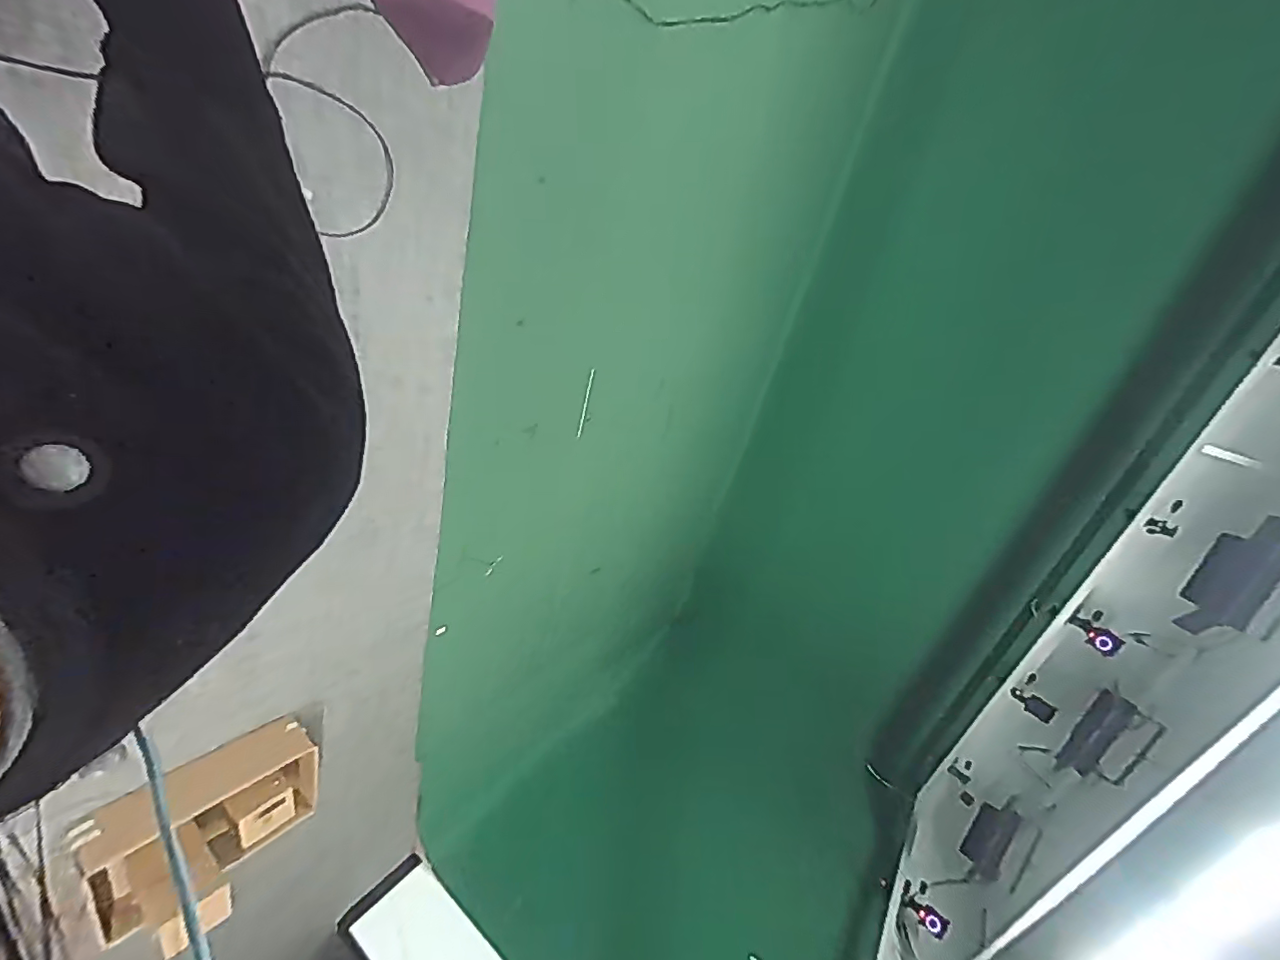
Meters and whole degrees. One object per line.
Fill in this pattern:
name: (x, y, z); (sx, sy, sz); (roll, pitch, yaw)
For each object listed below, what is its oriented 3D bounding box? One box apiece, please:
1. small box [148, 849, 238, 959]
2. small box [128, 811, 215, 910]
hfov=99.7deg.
small box: (-1.350, 1.269, 1.634); (0.168, 0.176, 0.179); (-19, 132, -53)
small box: (-1.477, 1.201, 1.711); (0.168, 0.176, 0.179); (-22, 133, -54)
